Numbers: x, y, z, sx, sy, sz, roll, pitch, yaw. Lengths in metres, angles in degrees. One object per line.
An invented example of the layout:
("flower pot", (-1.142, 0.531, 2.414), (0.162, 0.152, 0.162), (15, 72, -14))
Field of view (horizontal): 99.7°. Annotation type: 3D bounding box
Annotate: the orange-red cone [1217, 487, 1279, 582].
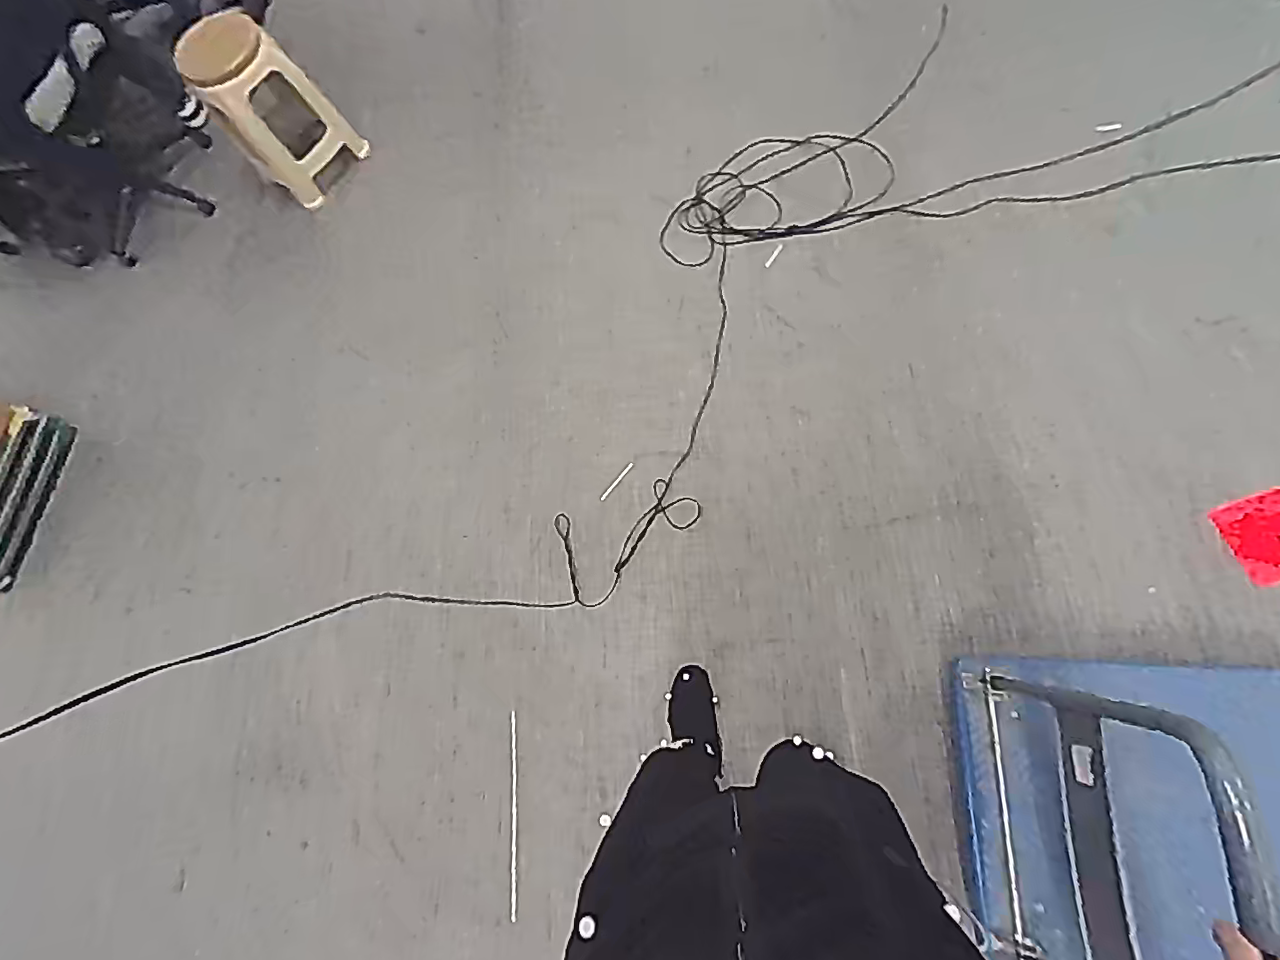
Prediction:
("orange-red cone", (1.500, 0.080, 1.135), (0.198, 0.360, 0.199), (-19, 71, 3))
